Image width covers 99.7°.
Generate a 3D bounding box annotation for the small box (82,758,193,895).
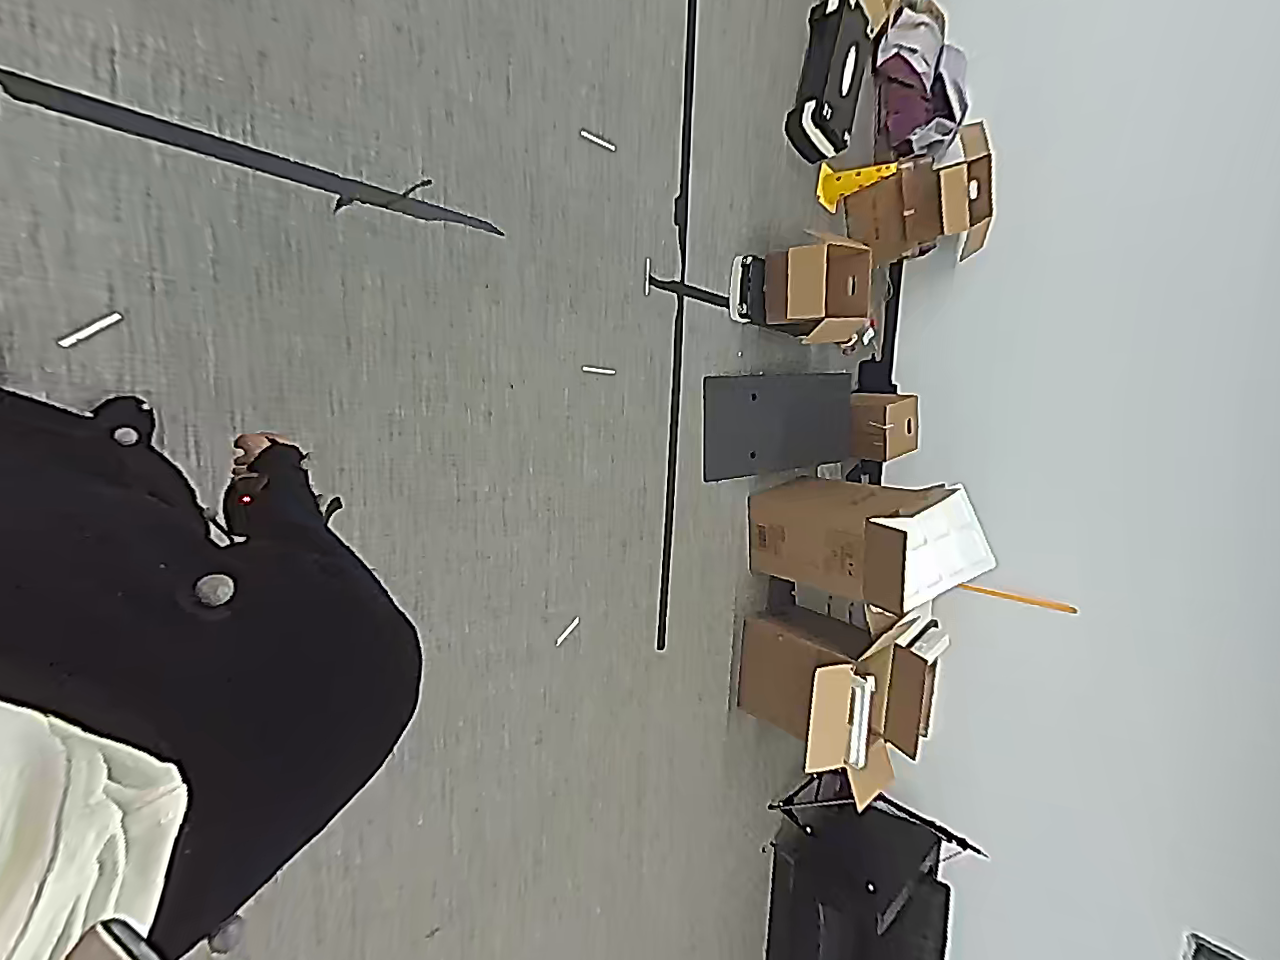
[{"bbox_3d":[-1.137,0.774,1.231,0.179,0.176,0.168,-2,99,-44],"label":"small box"}]
